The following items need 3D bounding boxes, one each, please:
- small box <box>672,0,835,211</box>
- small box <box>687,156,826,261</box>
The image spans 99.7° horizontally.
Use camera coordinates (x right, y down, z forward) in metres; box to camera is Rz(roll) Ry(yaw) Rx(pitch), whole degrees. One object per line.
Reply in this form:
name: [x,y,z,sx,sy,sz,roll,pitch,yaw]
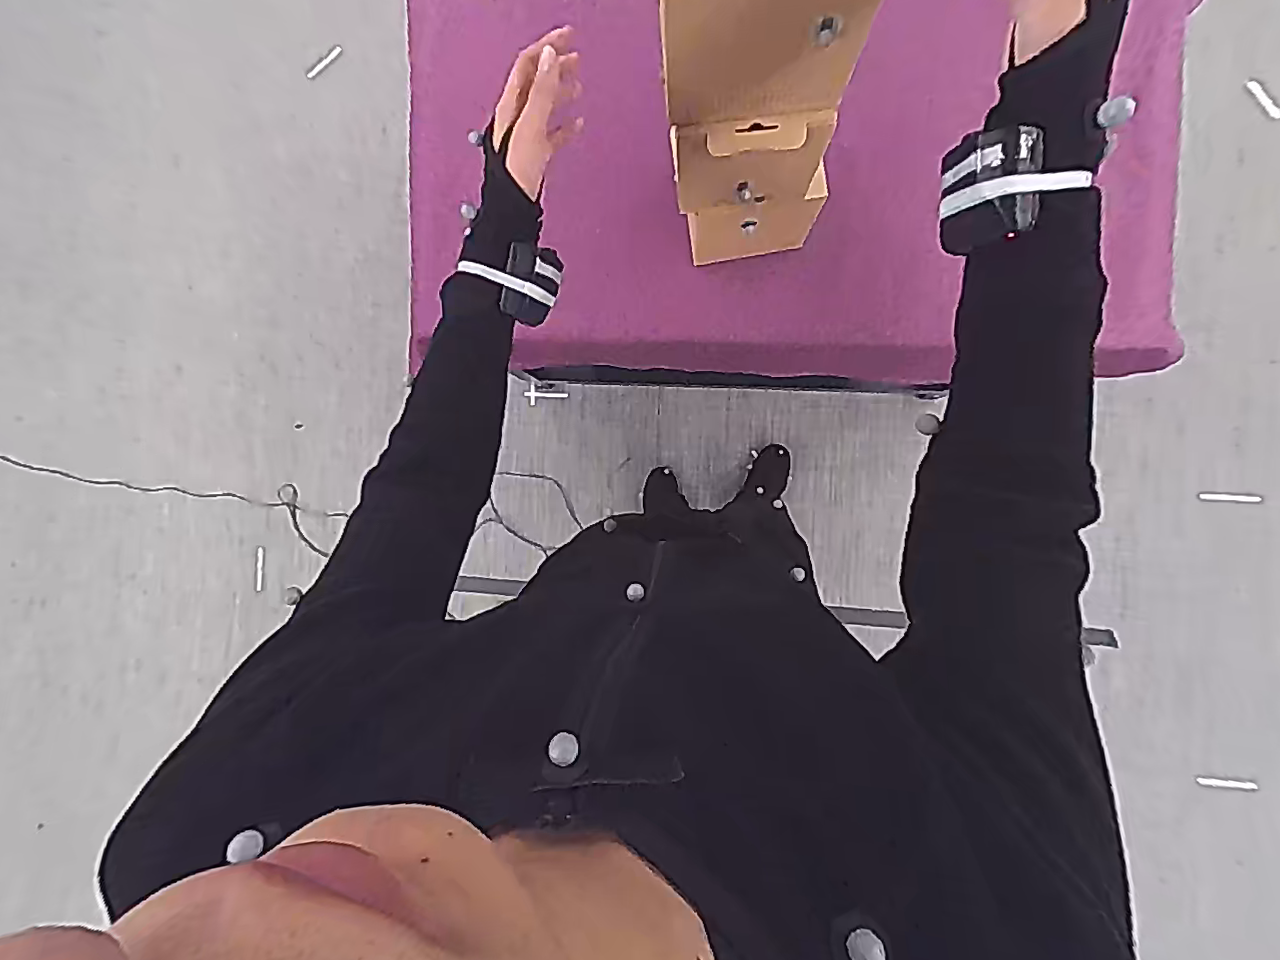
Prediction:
small box: [0.122,-0.447,0.636,0.168,0.176,0.179,-3,91,5]
small box: [0.156,-0.442,0.798,0.179,0.176,0.168,-8,91,4]
